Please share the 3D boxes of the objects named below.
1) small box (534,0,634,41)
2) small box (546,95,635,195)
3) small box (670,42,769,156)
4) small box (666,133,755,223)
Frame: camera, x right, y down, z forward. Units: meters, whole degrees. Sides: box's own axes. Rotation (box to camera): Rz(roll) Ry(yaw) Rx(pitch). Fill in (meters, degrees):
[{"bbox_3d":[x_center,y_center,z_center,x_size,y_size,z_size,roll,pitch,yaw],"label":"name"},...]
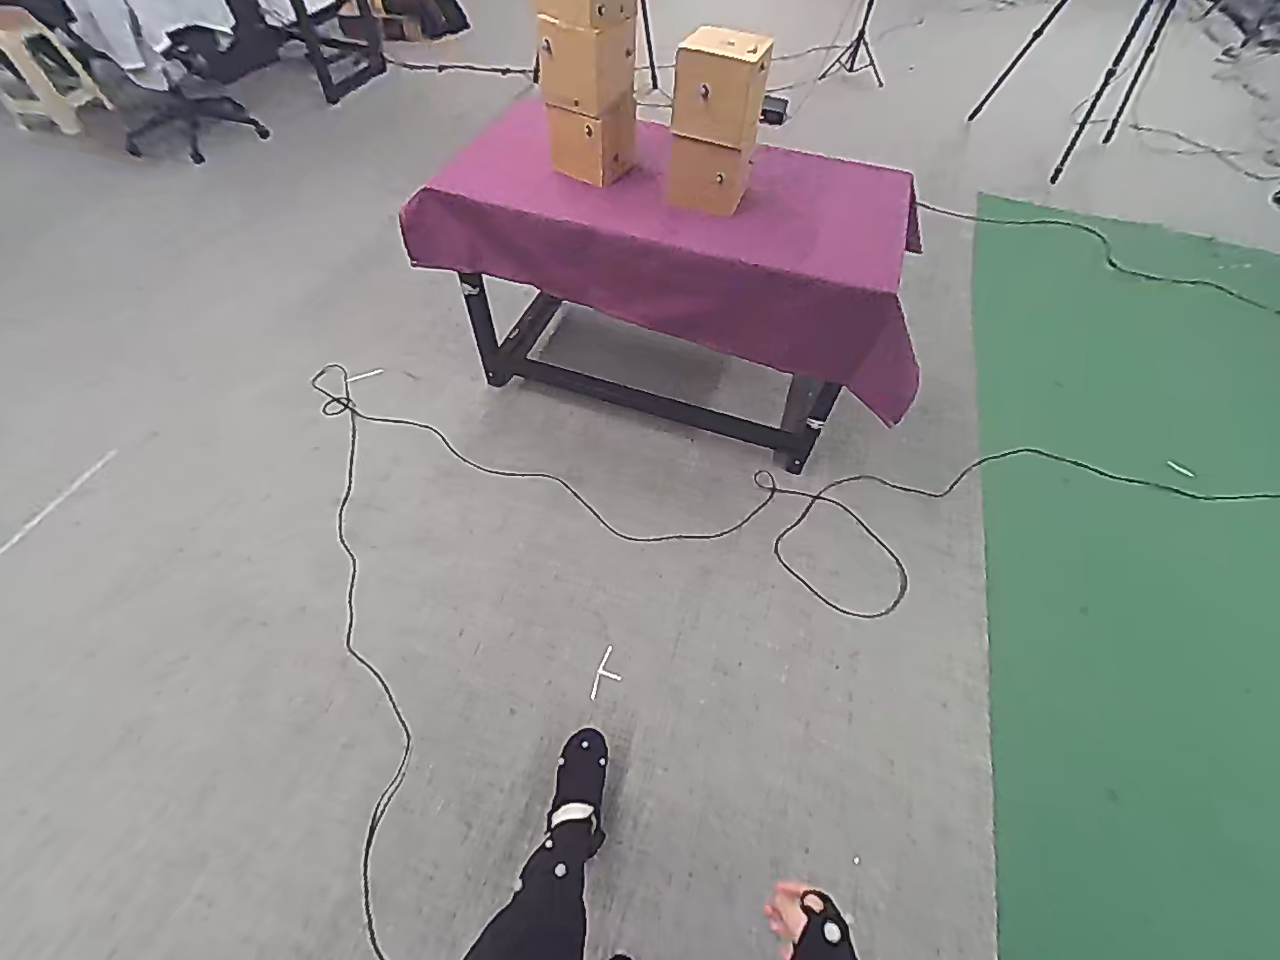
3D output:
[{"bbox_3d":[-0.124,-1.107,1.203,0.179,0.176,0.168,33,58,20],"label":"small box"},{"bbox_3d":[-0.131,-0.899,1.458,0.179,0.176,0.168,27,57,15],"label":"small box"},{"bbox_3d":[0.179,-0.884,1.259,0.179,0.176,0.168,20,56,12],"label":"small box"},{"bbox_3d":[0.178,-0.792,1.395,0.179,0.176,0.168,18,55,11],"label":"small box"}]
